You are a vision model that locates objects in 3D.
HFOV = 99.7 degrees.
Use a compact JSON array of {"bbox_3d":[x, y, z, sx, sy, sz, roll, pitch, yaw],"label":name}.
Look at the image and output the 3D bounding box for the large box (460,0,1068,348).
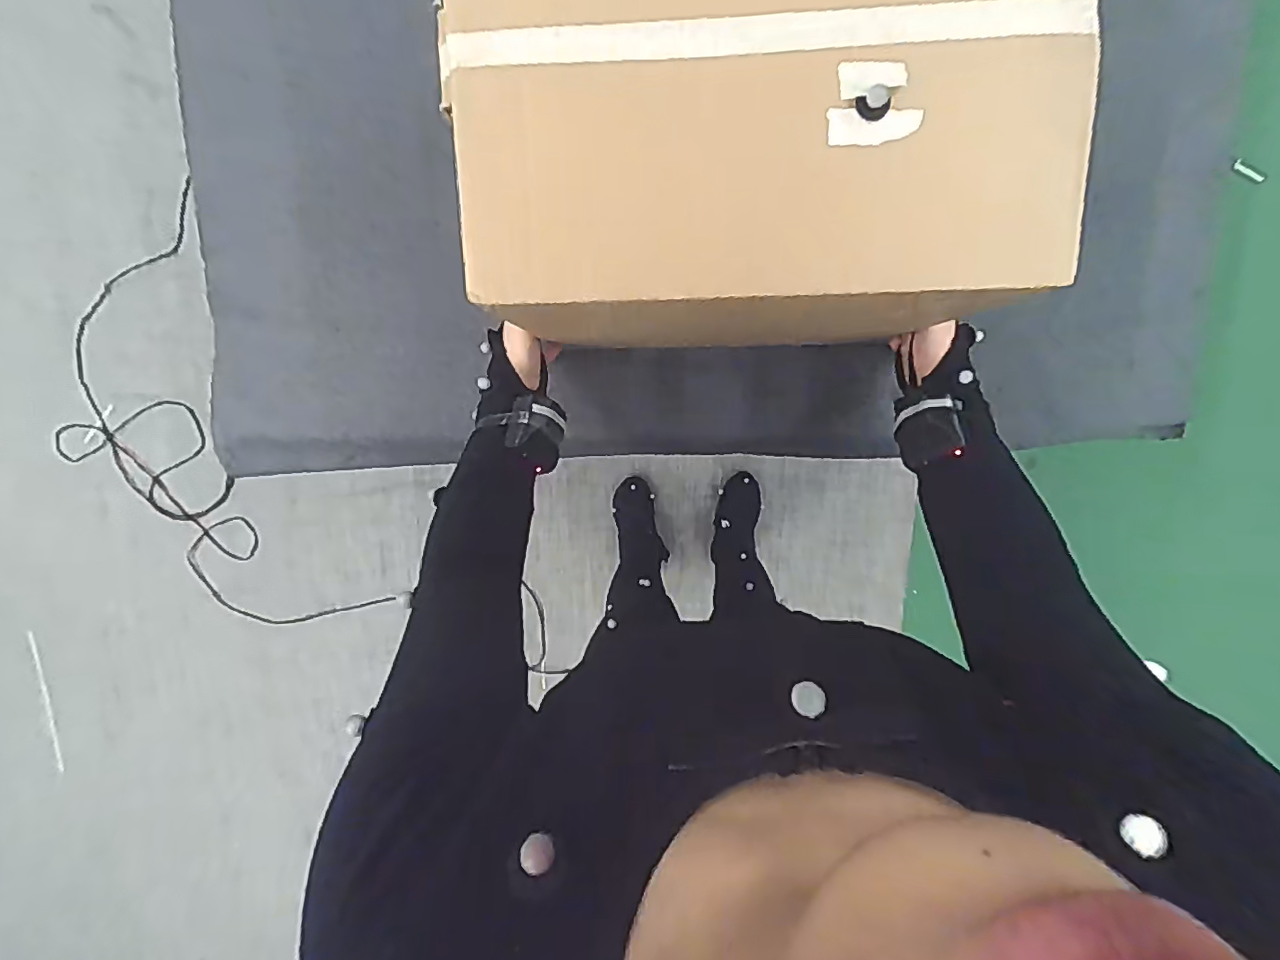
[{"bbox_3d":[0.082,-0.306,0.506,0.408,0.320,0.320,-2,98,2],"label":"large box"}]
